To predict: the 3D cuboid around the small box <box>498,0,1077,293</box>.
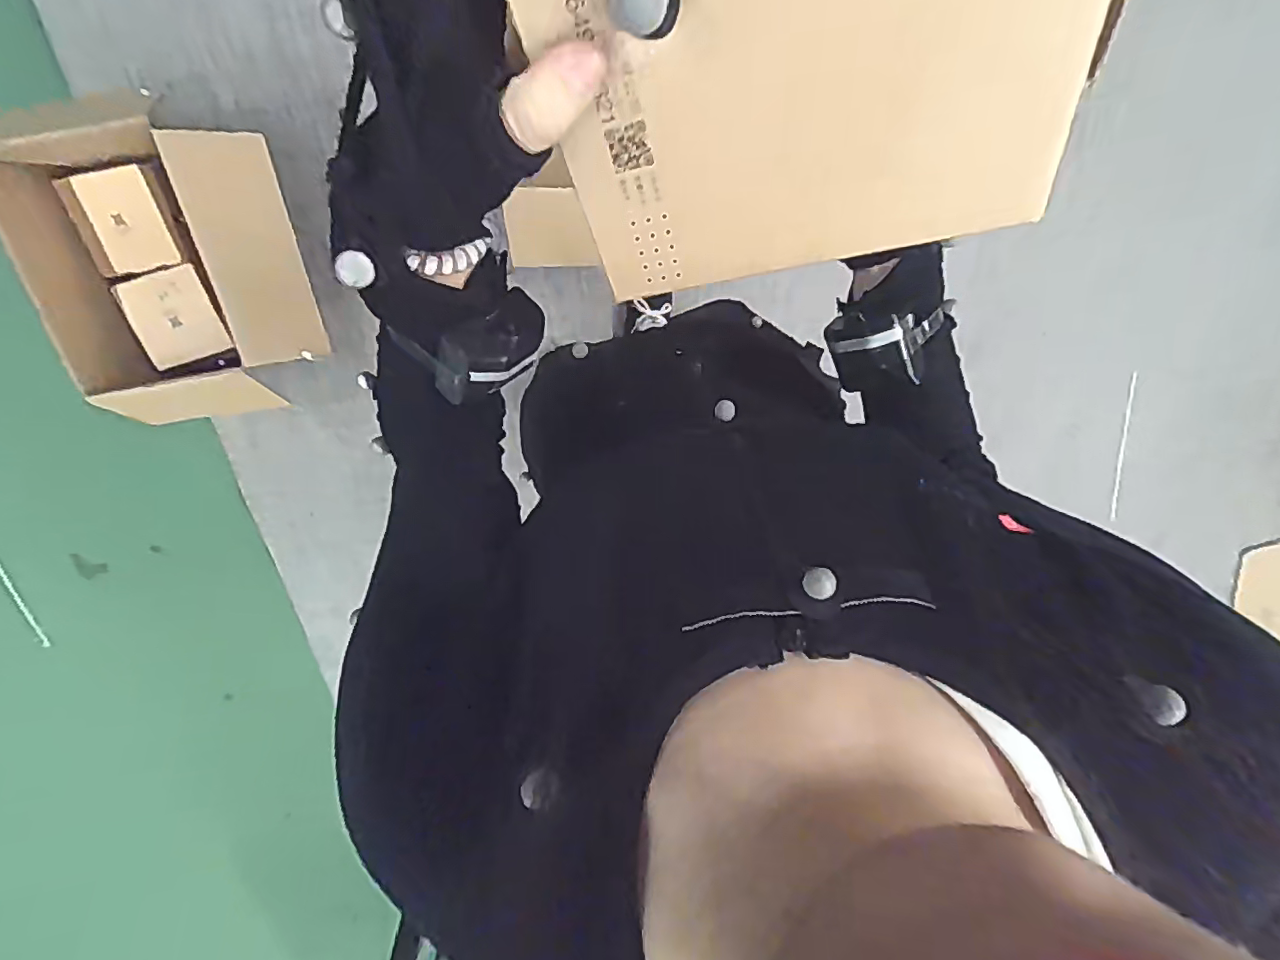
[{"bbox_3d":[0.048,-0.204,0.215,0.176,0.179,0.168,-6,142,17],"label":"small box"}]
